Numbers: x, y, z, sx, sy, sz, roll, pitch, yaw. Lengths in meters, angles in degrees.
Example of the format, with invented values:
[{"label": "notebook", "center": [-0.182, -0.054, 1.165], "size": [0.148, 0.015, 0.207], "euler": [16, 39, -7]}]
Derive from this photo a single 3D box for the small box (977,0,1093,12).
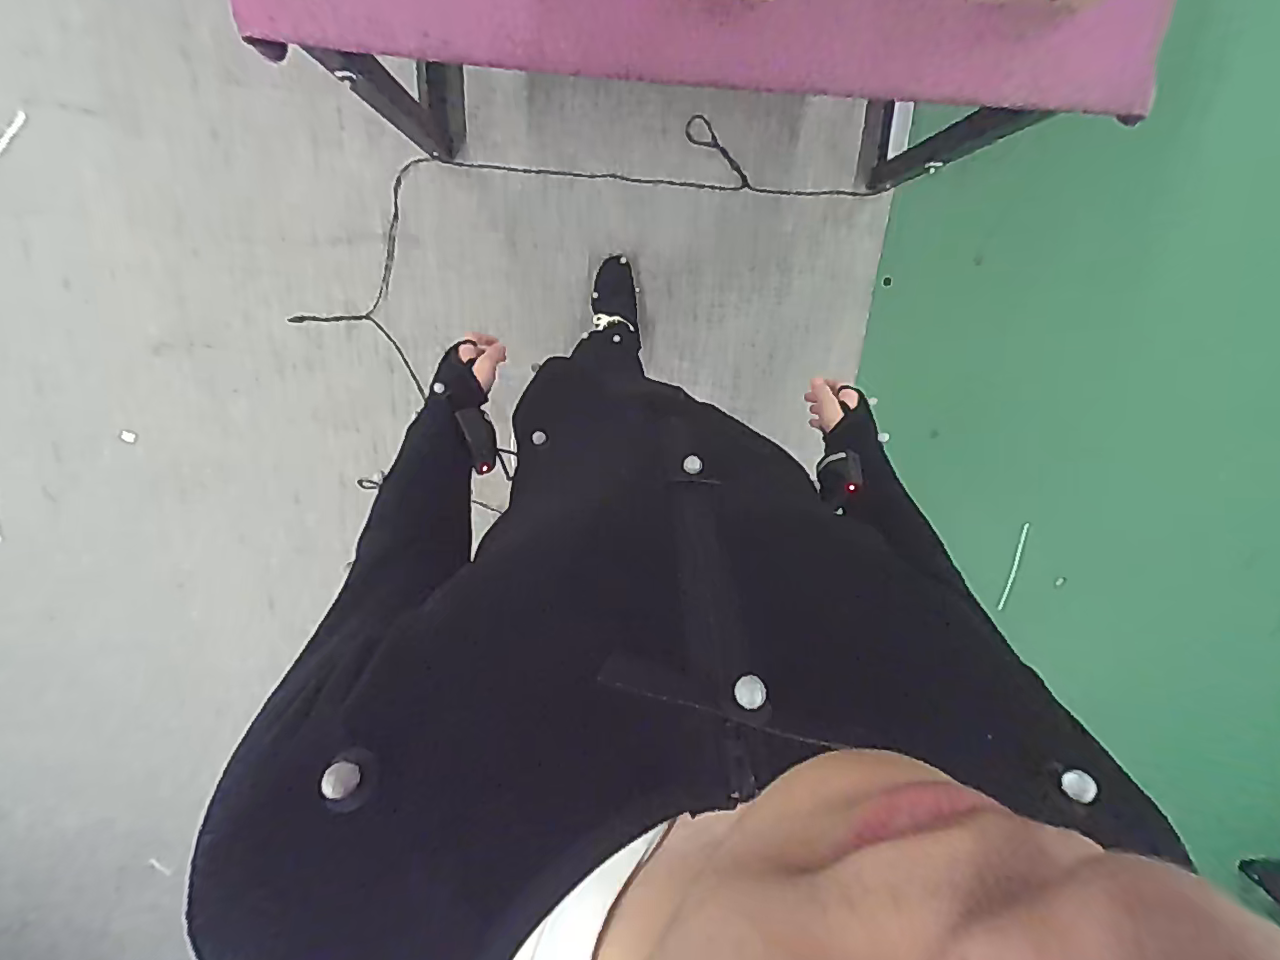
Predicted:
[{"label": "small box", "center": [0.508, -0.679, 0.604], "size": [0.168, 0.176, 0.179], "euler": [2, 106, -2]}]
